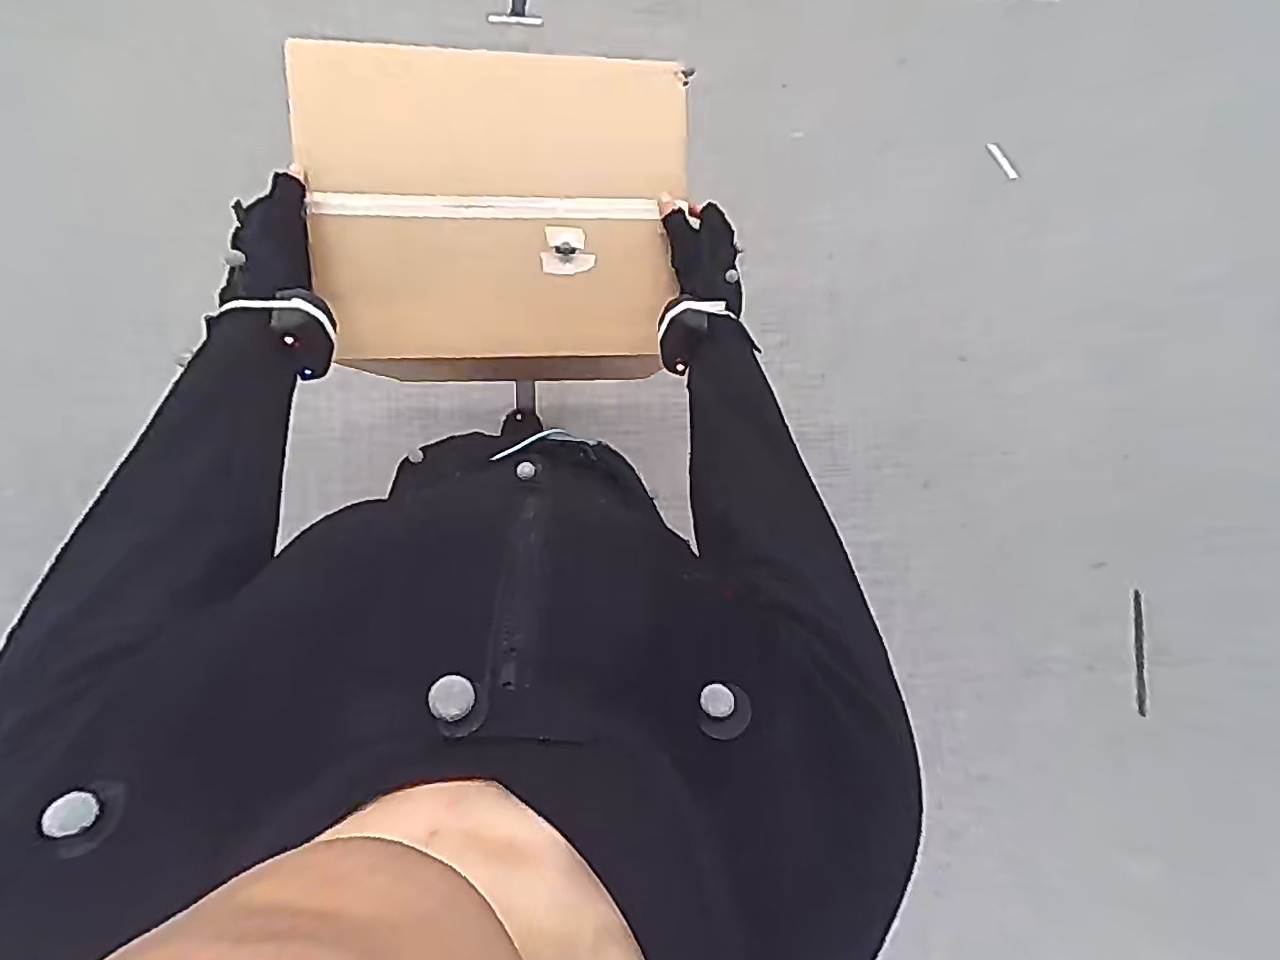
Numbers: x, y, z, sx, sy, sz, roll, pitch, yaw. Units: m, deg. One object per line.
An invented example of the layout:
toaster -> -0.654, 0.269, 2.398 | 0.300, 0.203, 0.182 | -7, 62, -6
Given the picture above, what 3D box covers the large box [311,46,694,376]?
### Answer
large box -> -0.161, -0.319, 0.744 | 0.408, 0.320, 0.320 | -3, 97, -8
